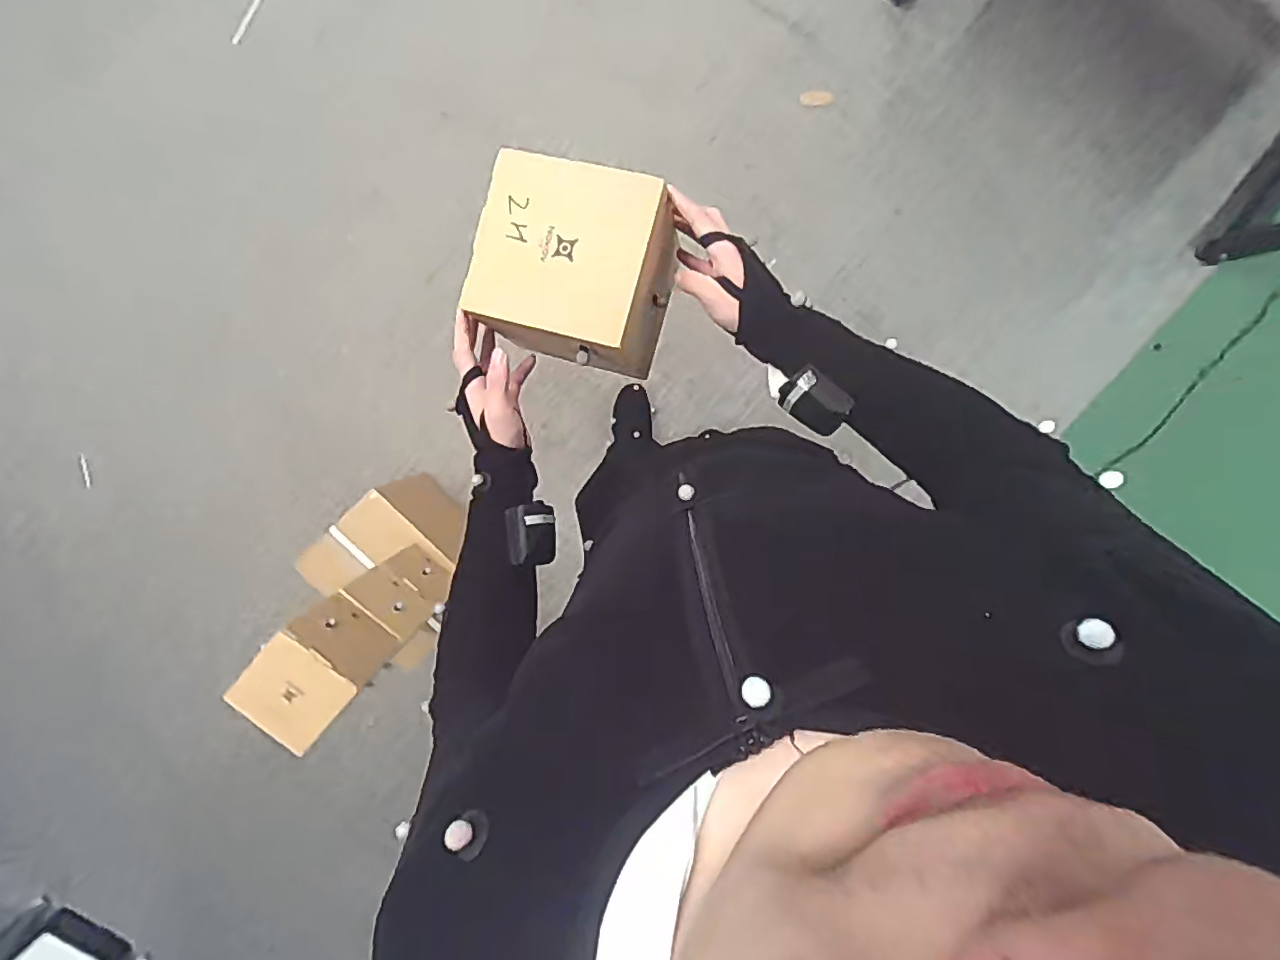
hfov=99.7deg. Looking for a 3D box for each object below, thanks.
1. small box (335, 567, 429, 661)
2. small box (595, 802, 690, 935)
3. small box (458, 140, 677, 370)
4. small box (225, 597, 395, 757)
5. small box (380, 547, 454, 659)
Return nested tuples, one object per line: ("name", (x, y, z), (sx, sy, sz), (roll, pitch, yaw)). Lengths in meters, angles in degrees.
("small box", (-0.575, 0.312, 1.138), (0.168, 0.176, 0.179), (42, 98, -7))
("small box", (0.005, 0.871, 1.227), (0.179, 0.176, 0.168), (12, 100, -1))
("small box", (-0.065, -0.230, 0.598), (0.179, 0.176, 0.168), (17, 92, 9))
("small box", (-0.578, 0.344, 0.979), (0.168, 0.176, 0.179), (41, 99, -5))
("small box", (-0.573, 0.287, 1.299), (0.168, 0.176, 0.179), (43, 96, -6))
